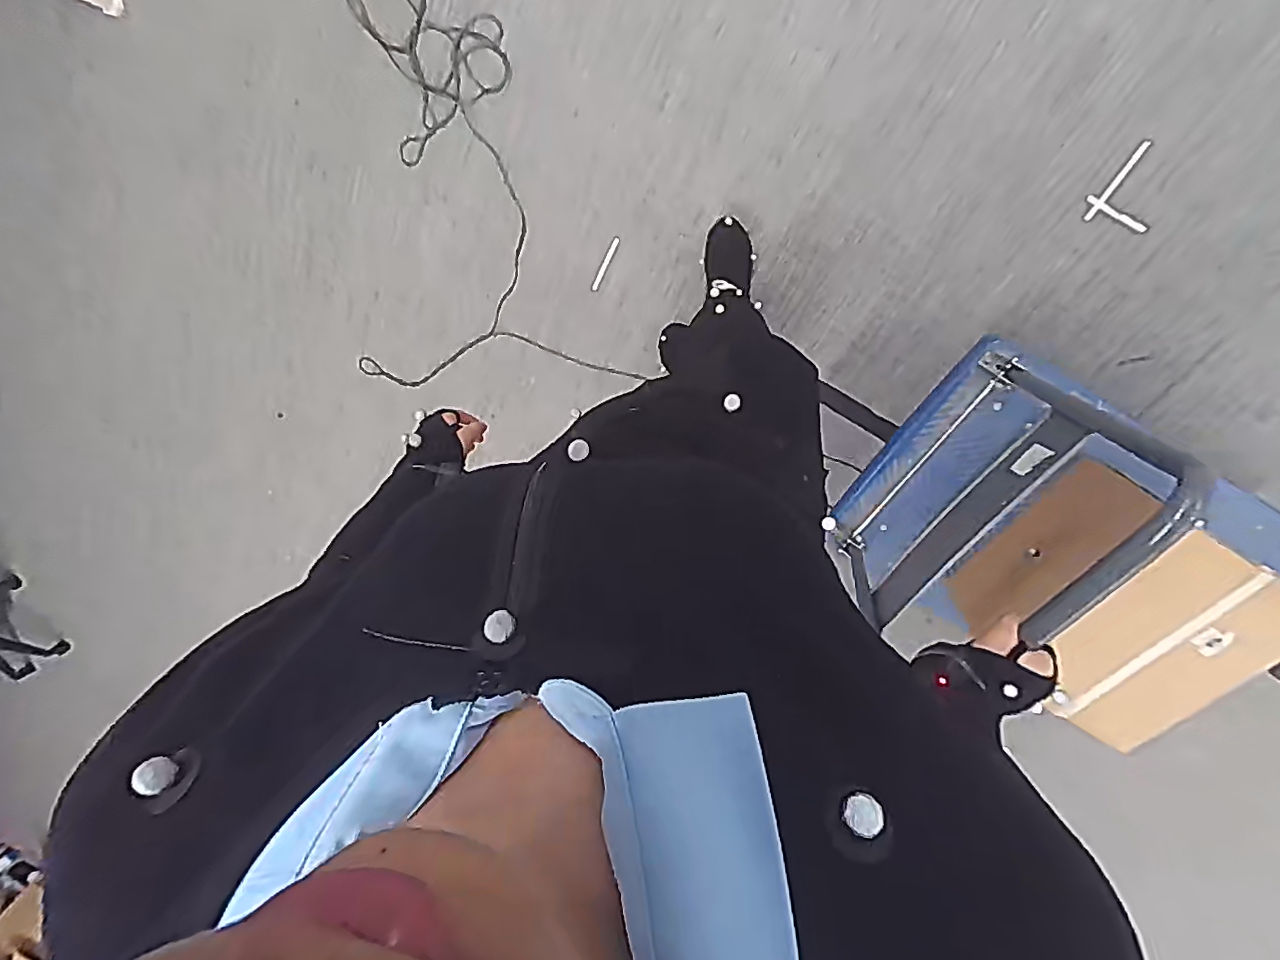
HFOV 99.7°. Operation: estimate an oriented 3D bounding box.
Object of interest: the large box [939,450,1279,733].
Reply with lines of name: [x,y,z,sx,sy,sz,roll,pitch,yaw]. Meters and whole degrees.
large box: [0.917,0.215,1.111,0.320,0.320,0.408,32,115,-2]
